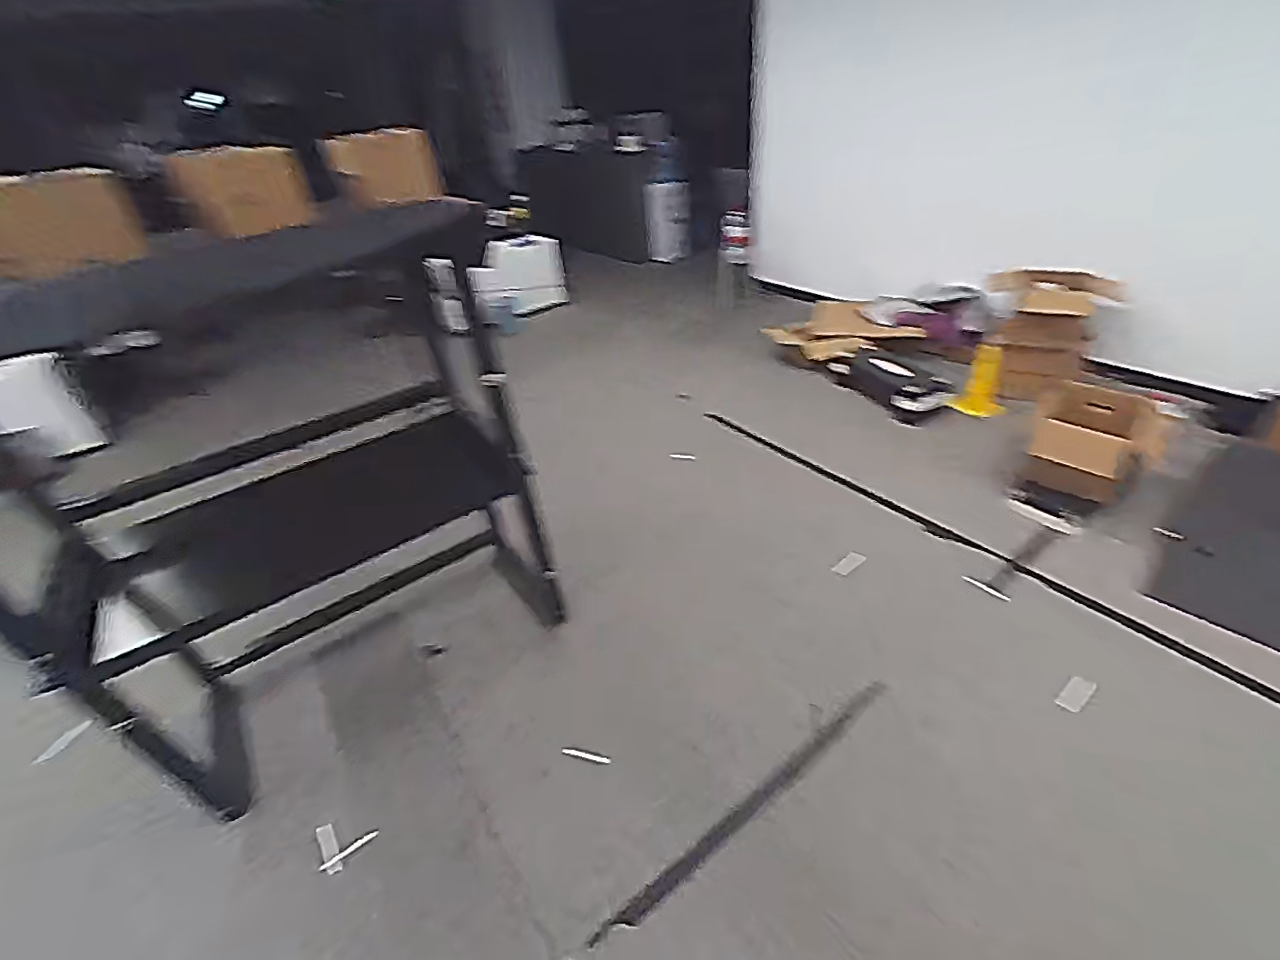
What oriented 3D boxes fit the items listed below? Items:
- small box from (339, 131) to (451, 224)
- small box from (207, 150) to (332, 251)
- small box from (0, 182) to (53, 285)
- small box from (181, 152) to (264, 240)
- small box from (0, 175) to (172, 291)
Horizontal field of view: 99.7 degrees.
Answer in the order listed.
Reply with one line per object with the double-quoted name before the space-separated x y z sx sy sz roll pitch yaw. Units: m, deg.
"small box" -0.579 -0.722 1.293 0.168 0.176 0.179 -31 41 -29
"small box" -0.805 -0.610 1.183 0.168 0.176 0.179 -28 40 -27
"small box" -1.343 -0.530 1.162 0.168 0.176 0.179 -33 43 -29
"small box" -1.006 -0.717 1.361 0.179 0.176 0.168 -27 41 -25
"small box" -1.051 -0.481 1.047 0.179 0.176 0.168 -27 40 -27
